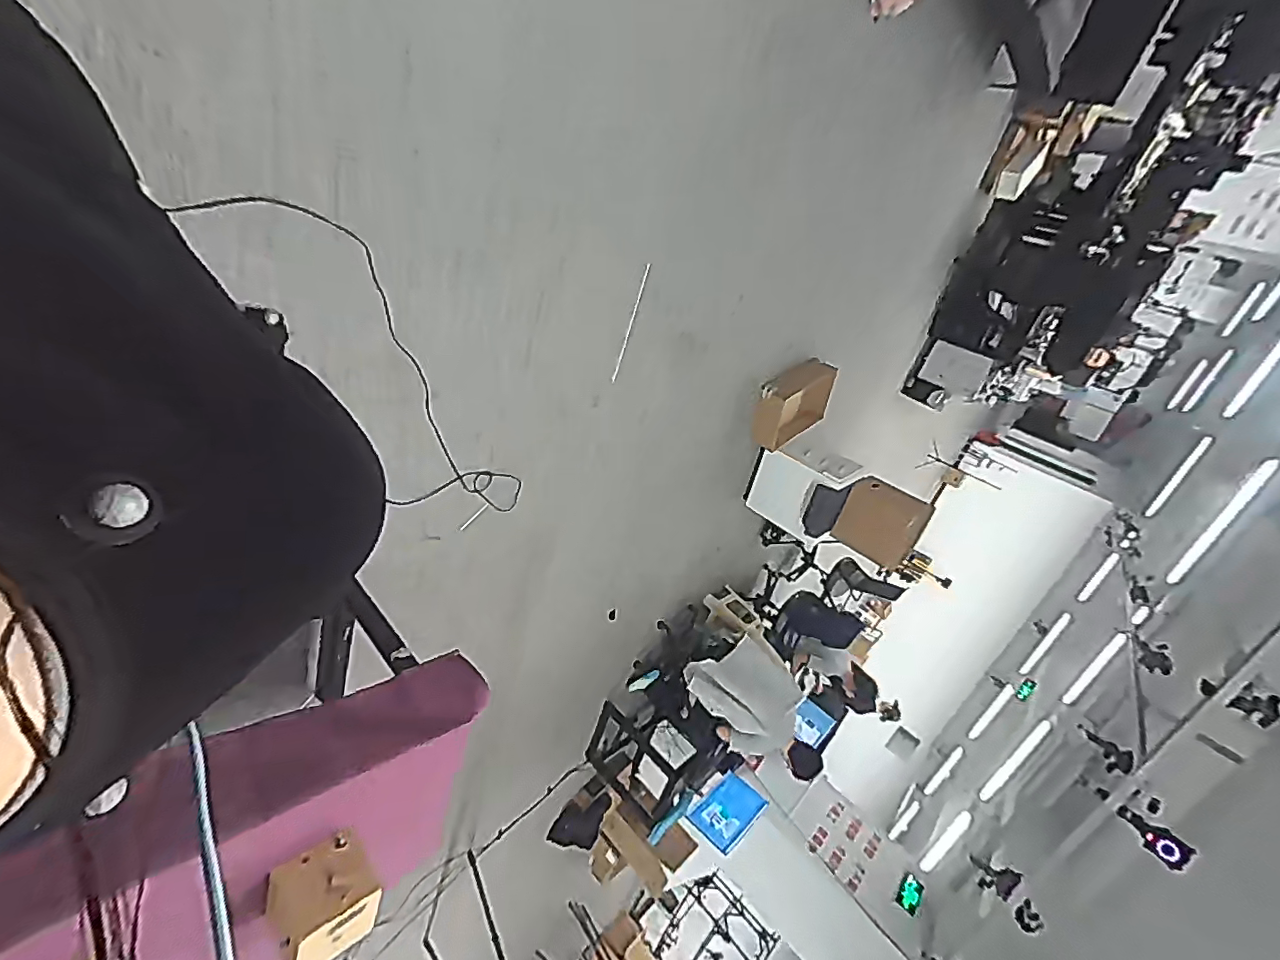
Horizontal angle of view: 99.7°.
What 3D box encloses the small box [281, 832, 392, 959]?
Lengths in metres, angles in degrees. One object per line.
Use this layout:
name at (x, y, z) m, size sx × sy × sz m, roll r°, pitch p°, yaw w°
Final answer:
small box at (-0.682, 0.936, 1.208) m, size 0.168 × 0.176 × 0.179 m, roll -8°, pitch 126°, yaw -48°
